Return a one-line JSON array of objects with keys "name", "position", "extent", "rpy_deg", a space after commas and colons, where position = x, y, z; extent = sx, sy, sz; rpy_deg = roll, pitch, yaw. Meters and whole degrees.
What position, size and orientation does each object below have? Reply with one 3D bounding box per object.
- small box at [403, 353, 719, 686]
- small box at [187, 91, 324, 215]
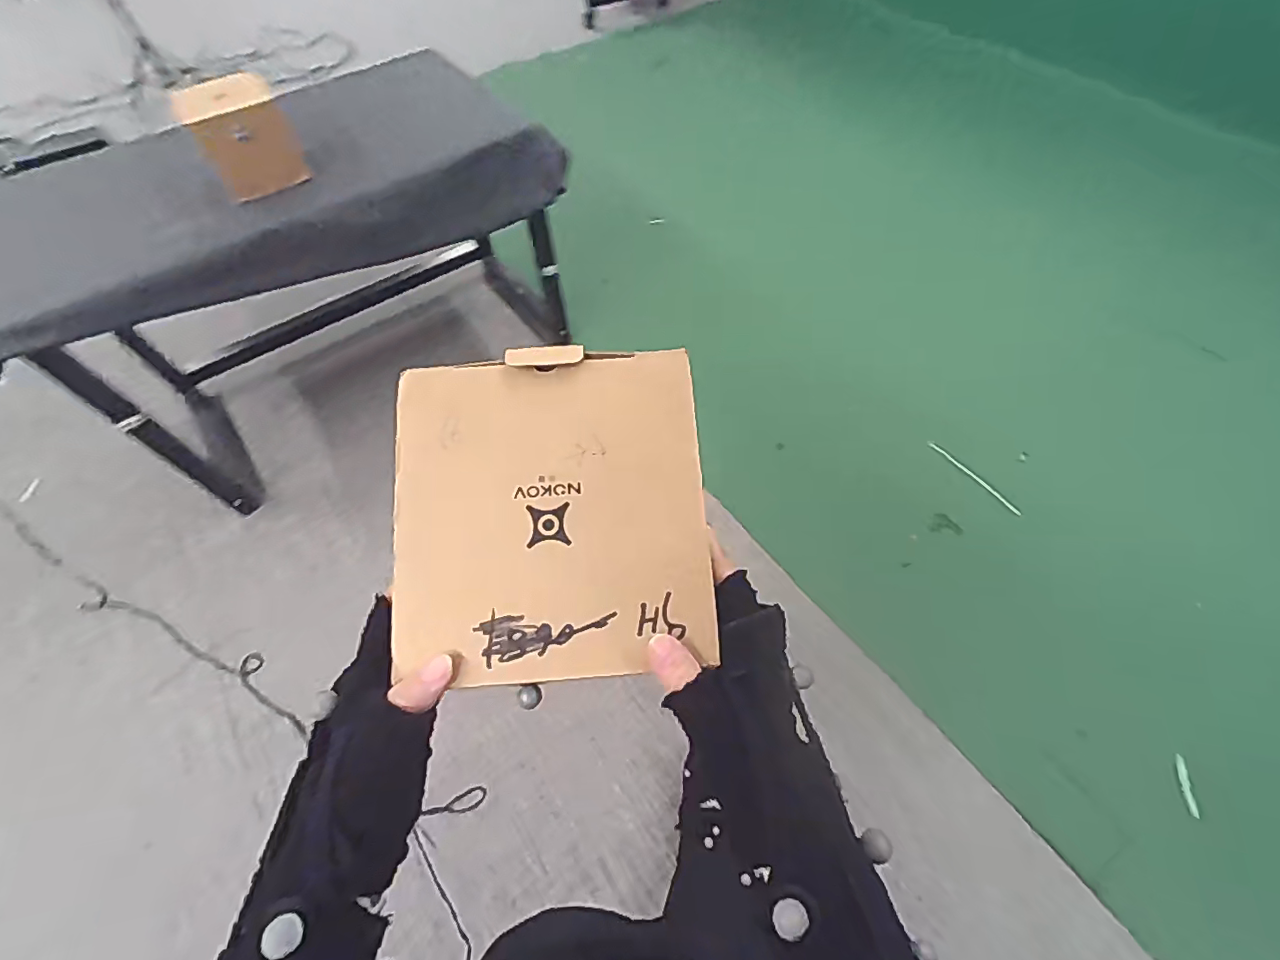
[{"name": "small box", "position": [-0.050, 0.035, 0.379], "extent": [0.168, 0.176, 0.179], "rpy_deg": [-8, 76, -2]}, {"name": "small box", "position": [-0.853, -0.728, 1.211], "extent": [0.179, 0.176, 0.168], "rpy_deg": [-31, 62, -18]}]
